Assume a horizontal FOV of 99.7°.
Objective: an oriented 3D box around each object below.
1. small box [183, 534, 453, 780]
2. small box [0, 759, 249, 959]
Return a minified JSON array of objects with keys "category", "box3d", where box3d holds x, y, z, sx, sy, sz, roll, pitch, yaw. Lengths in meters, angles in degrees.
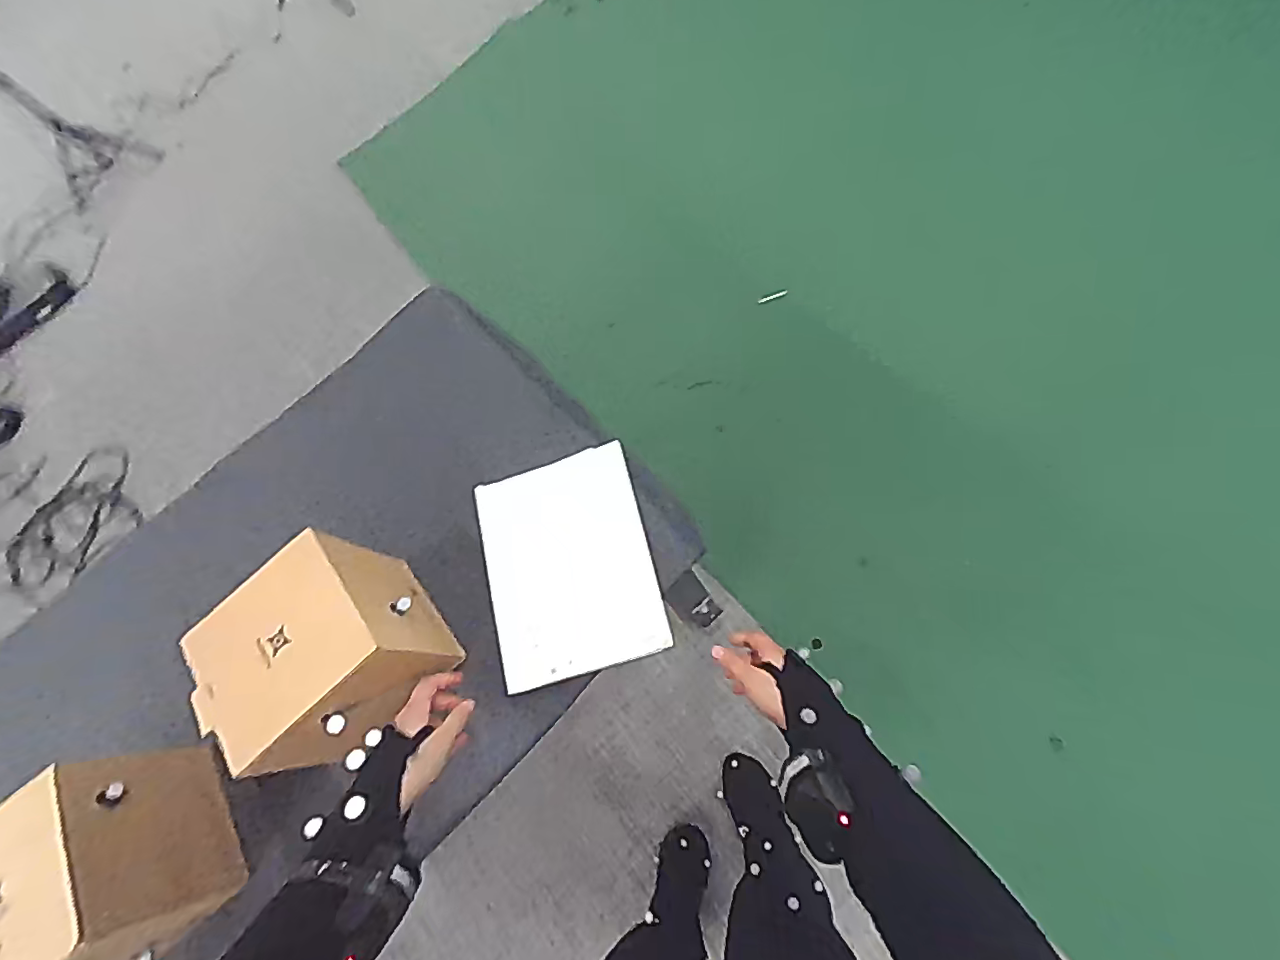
[{"category":"small box","box3d":[-0.339,0.191,0.605,0.179,0.176,0.168,-44,67,-4]},{"category":"small box","box3d":[-0.572,0.424,0.575,0.168,0.176,0.179,-40,67,-2]}]
